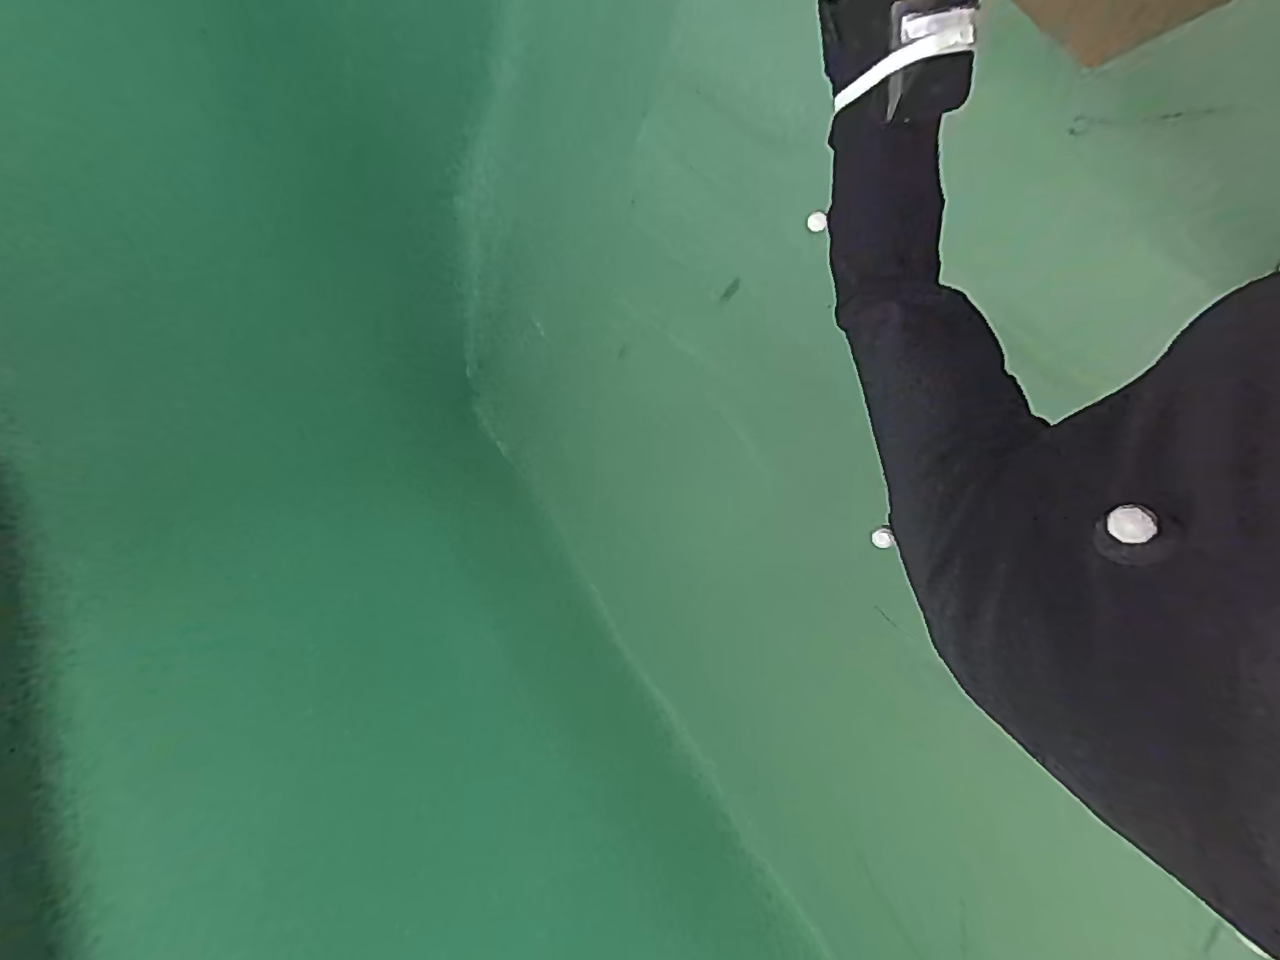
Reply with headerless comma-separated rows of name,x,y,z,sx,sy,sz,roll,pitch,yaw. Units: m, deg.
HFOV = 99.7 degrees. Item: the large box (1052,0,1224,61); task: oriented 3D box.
large box,0.407,-0.505,0.241,0.408,0.320,0.320,-6,102,48
